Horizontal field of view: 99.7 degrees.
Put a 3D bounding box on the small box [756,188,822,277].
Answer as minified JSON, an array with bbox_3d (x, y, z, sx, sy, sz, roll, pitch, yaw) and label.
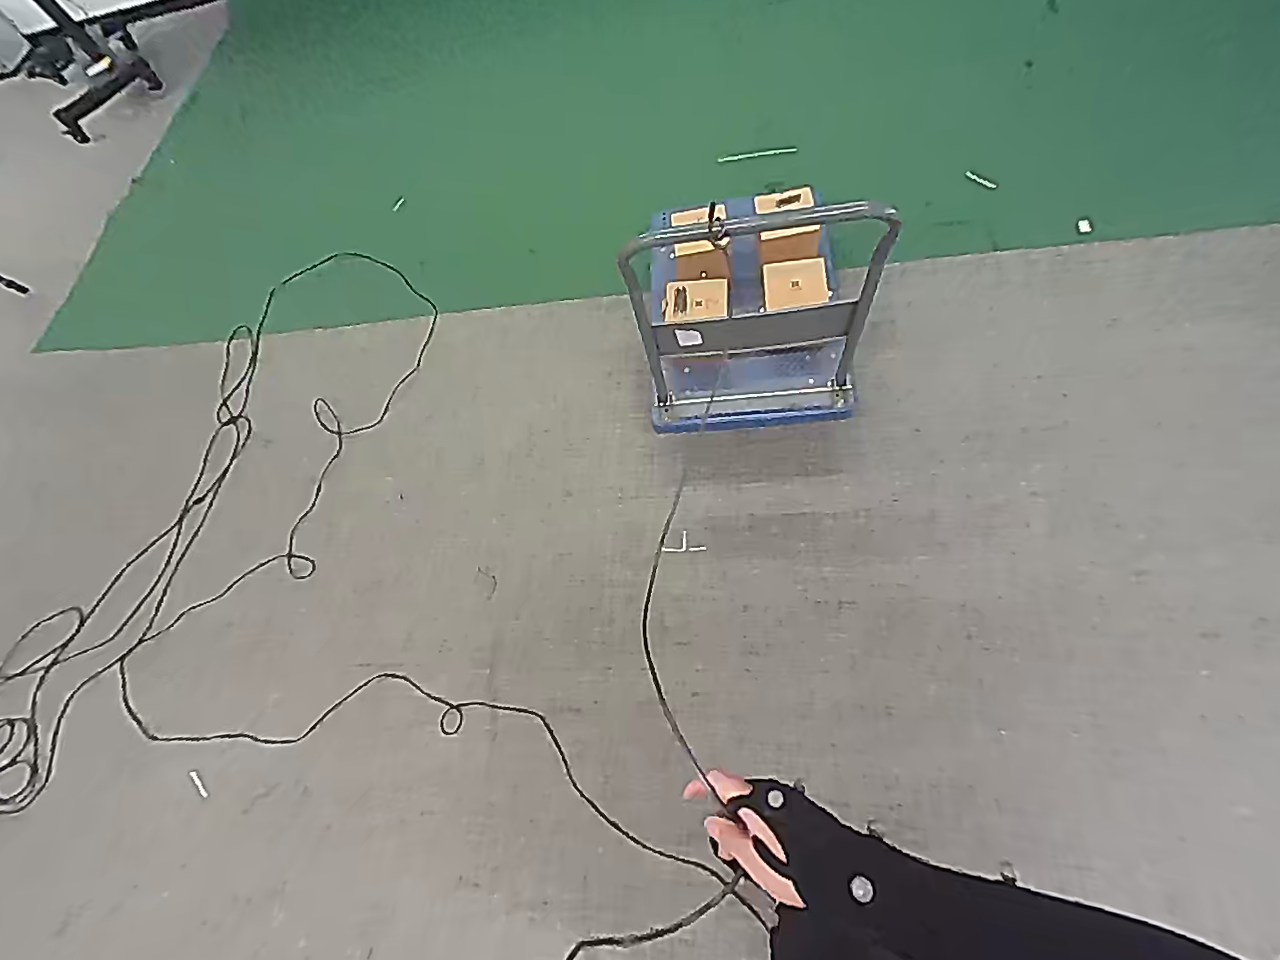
[{"bbox_3d":[0.446,-0.744,1.643,0.168,0.176,0.179,-7,66,10],"label":"small box"}]

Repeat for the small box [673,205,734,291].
[{"bbox_3d":[0.200,-0.711,1.682,0.168,0.176,0.179,-7,66,8],"label":"small box"}]

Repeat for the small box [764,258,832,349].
[{"bbox_3d":[0.442,-0.496,1.536,0.168,0.176,0.179,-3,67,11],"label":"small box"}]
